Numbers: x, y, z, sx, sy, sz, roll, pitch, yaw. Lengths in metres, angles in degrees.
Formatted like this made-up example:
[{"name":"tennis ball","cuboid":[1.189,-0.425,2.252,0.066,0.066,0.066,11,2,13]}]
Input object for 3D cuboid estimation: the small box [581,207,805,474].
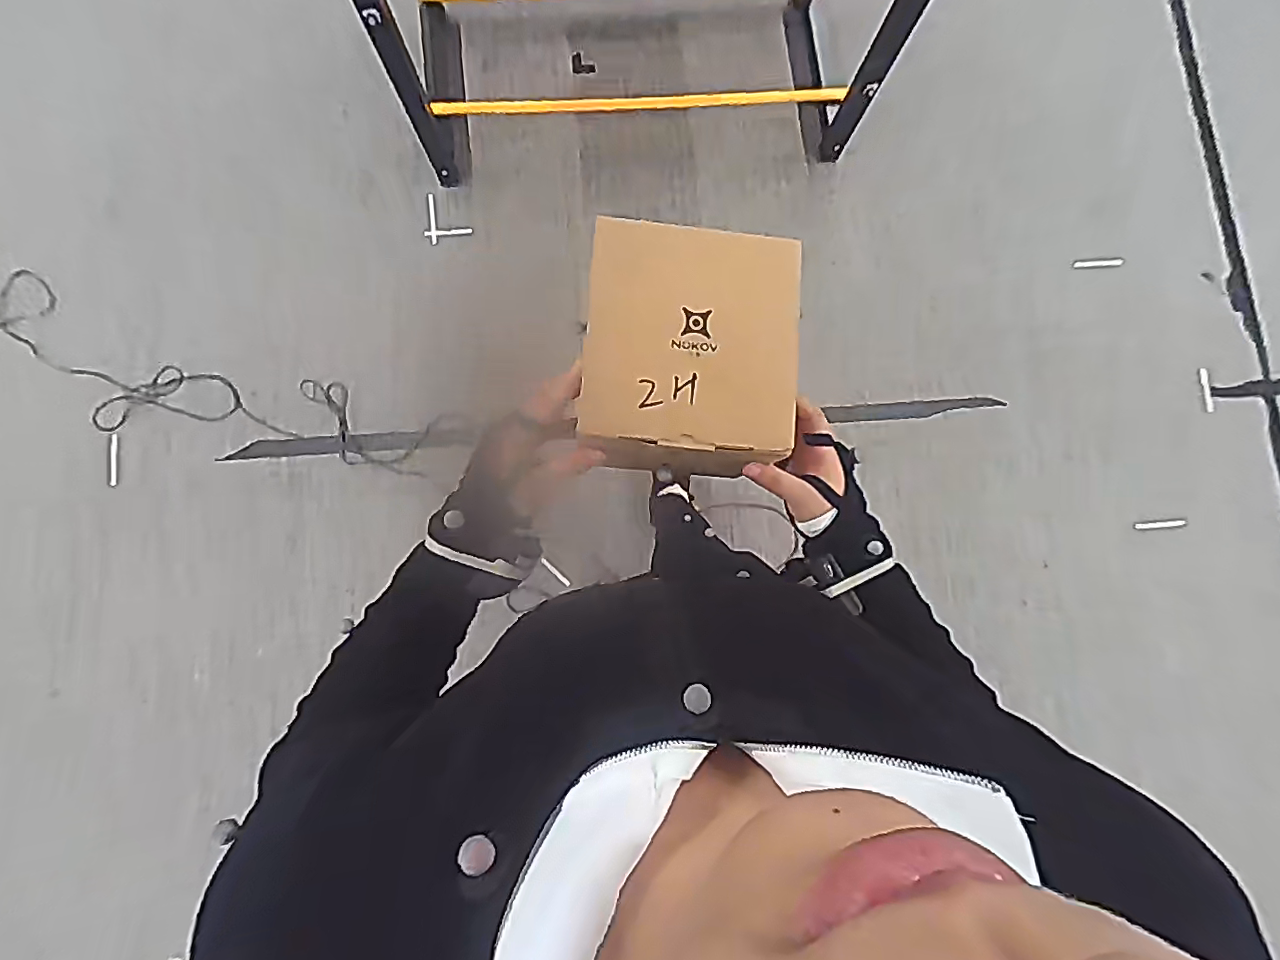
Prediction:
[{"name":"small box","cuboid":[0.036,-0.108,0.490,0.168,0.176,0.179,5,83,-4]}]
